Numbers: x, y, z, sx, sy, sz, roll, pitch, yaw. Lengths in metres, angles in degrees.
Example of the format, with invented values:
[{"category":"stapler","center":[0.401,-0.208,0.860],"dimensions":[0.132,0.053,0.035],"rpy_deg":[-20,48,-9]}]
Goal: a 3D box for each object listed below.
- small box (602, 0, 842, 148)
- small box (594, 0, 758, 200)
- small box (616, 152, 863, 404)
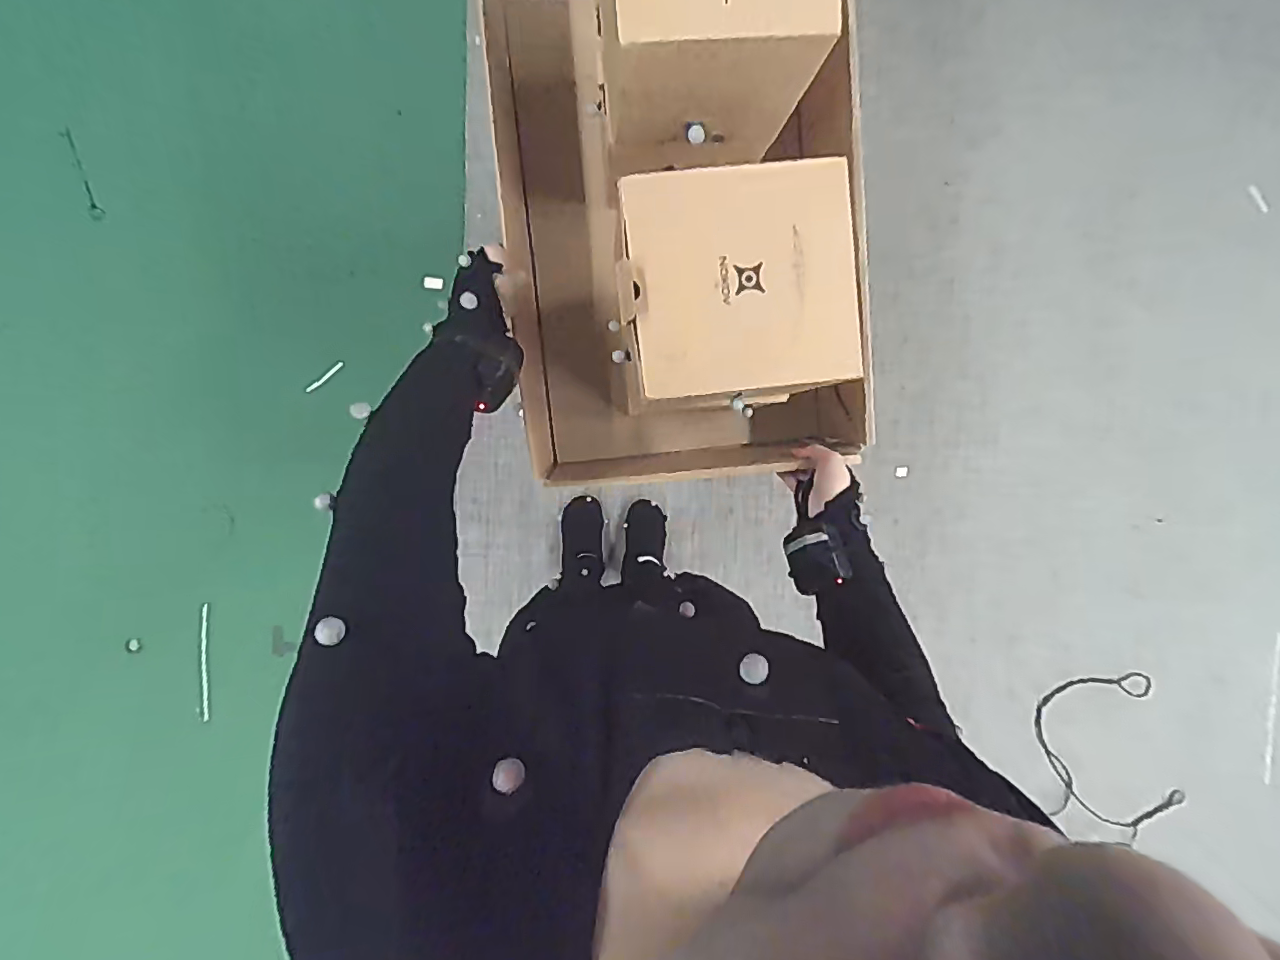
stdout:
[{"category":"small box","center":[0.053,-0.414,0.455],"dimensions":[0.168,0.176,0.179],"rpy_deg":[-5,98,-3]},{"category":"small box","center":[0.043,-0.436,0.618],"dimensions":[0.179,0.176,0.168],"rpy_deg":[-4,96,-3]},{"category":"small box","center":[0.073,-0.161,0.485],"dimensions":[0.179,0.176,0.168],"rpy_deg":[-7,96,-4]}]
